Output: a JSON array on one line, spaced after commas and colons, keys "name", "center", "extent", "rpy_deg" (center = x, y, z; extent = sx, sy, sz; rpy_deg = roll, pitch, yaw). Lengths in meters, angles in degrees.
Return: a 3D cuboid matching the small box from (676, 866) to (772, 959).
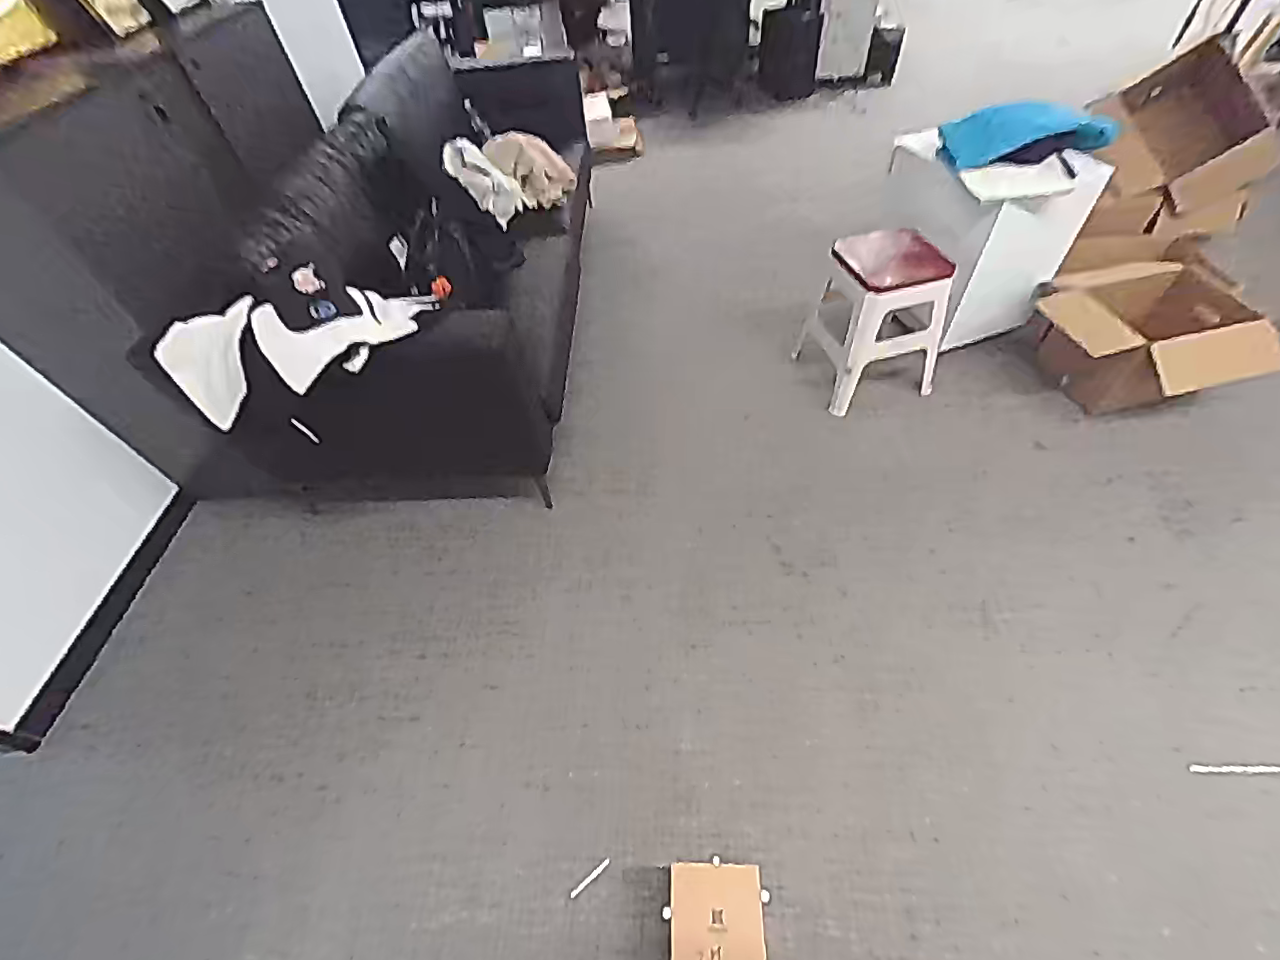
[{"name": "small box", "center": [0.152, 0.843, 1.015], "extent": [0.168, 0.176, 0.179], "rpy_deg": [-2, 51, 5]}]
